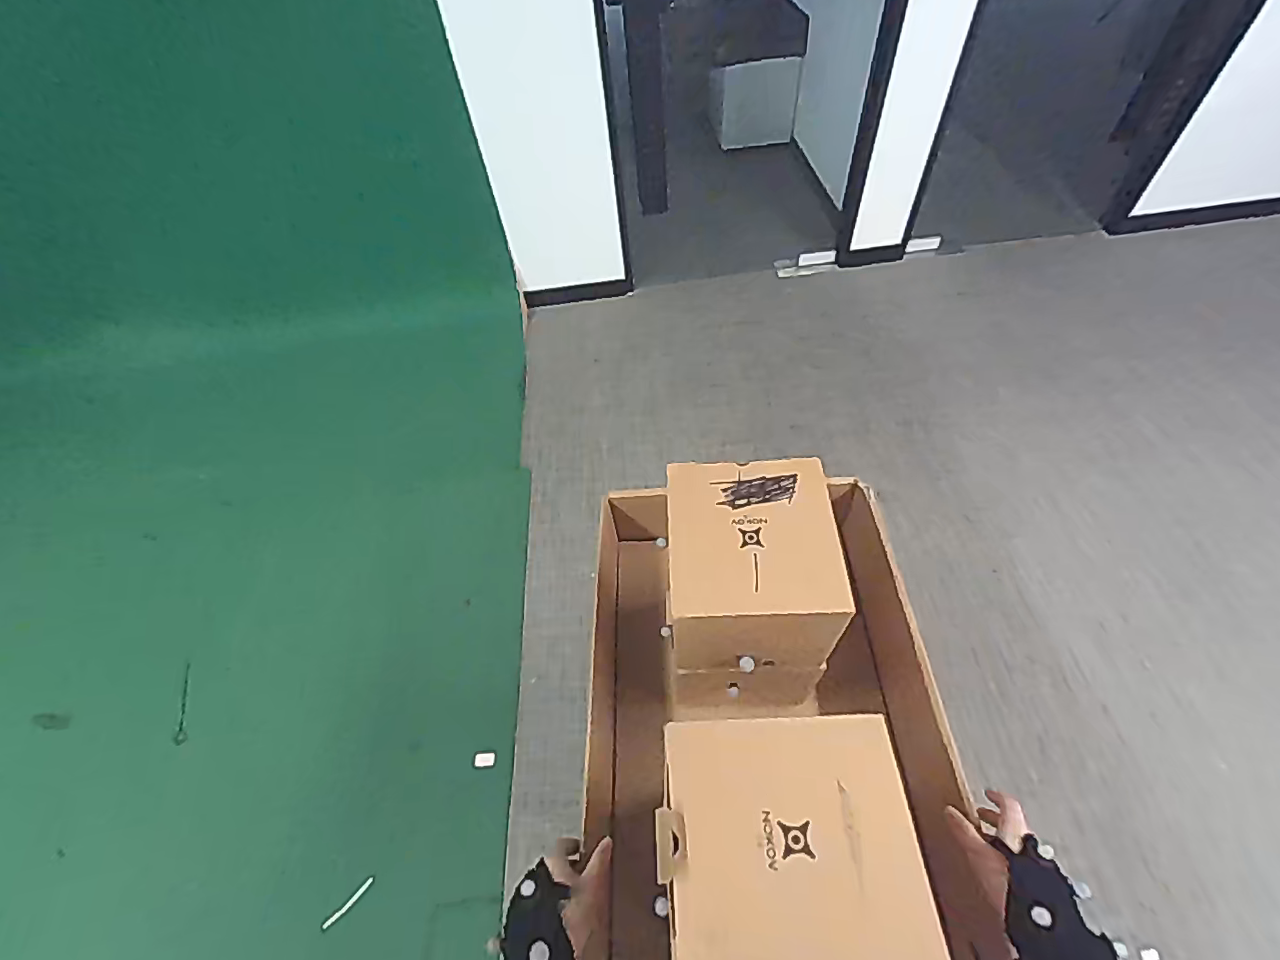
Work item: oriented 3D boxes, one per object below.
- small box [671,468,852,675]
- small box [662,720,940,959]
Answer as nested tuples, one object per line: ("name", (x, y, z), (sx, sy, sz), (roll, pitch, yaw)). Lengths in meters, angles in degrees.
("small box", (0.118, 0.104, 0.603), (0.168, 0.176, 0.179), (-1, 55, 4))
("small box", (0.112, 0.310, 0.453), (0.179, 0.176, 0.168), (-3, 53, 3))
